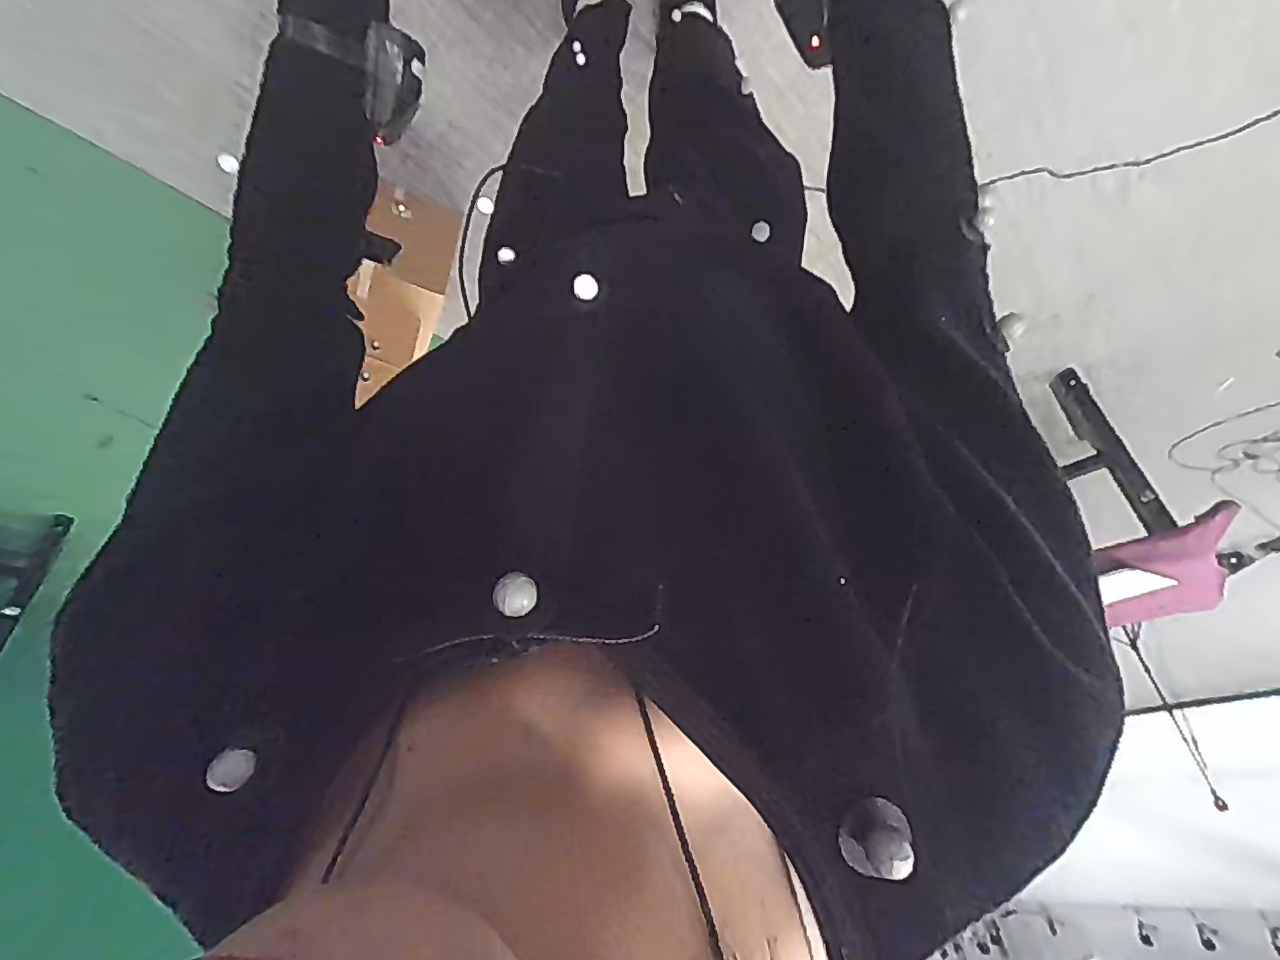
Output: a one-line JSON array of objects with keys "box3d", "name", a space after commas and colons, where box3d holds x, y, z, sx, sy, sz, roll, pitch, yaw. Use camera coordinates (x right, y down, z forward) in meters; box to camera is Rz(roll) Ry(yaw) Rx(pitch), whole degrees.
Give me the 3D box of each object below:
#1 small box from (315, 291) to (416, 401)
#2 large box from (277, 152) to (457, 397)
[{"box3d": [-0.610, -0.279, 1.182, 0.179, 0.176, 0.168, 19, 140, -31], "name": "small box"}, {"box3d": [-0.662, -0.479, 1.321, 0.320, 0.320, 0.408, 16, 143, -26], "name": "large box"}]
